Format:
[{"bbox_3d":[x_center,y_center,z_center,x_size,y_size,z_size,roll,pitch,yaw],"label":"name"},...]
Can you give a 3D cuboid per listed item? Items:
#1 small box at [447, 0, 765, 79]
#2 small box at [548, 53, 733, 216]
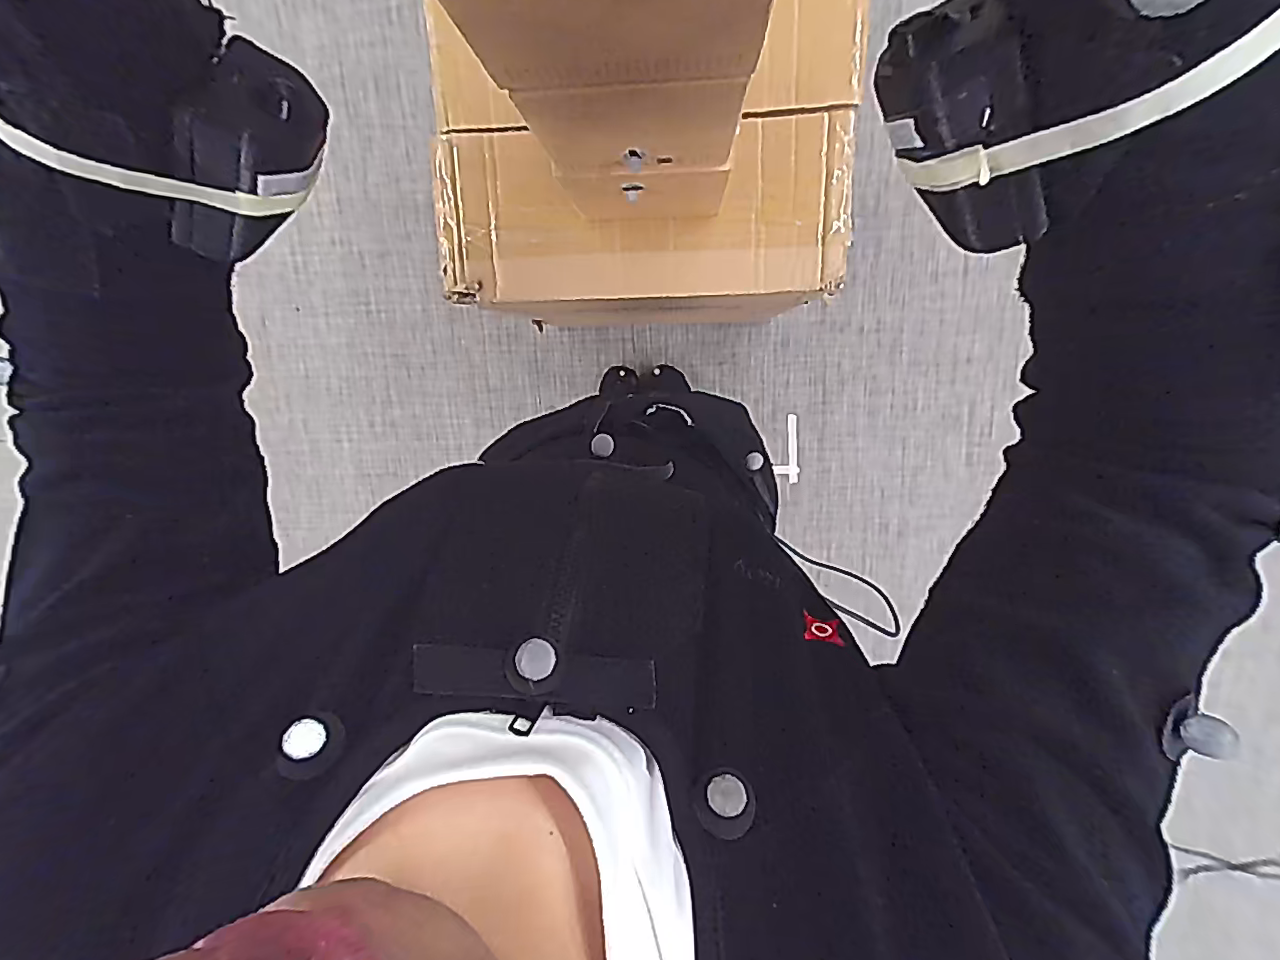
[{"bbox_3d":[-0.017,-0.327,0.261,0.179,0.176,0.168,0,103,4],"label":"small box"},{"bbox_3d":[0.005,-0.393,0.583,0.179,0.176,0.168,0,103,4],"label":"small box"}]
